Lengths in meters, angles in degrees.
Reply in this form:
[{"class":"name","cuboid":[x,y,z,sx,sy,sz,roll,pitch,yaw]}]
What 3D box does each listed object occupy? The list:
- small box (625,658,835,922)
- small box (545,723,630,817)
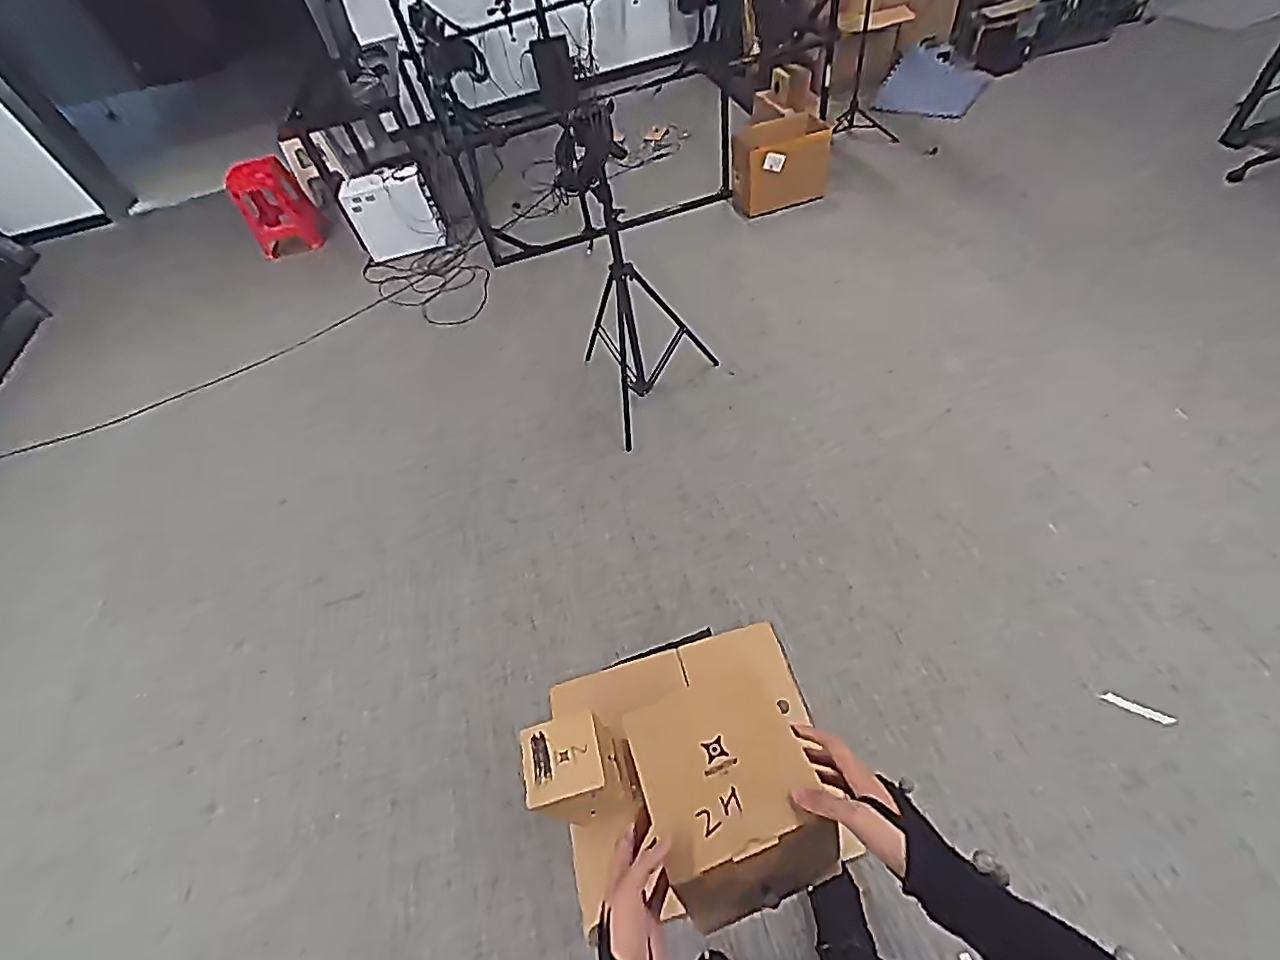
[{"class":"small box","cuboid":[0.098,0.342,0.605,0.168,0.176,0.179,-21,37,-5]},{"class":"small box","cuboid":[-0.129,0.751,1.396,0.179,0.176,0.168,-17,53,-1]}]
